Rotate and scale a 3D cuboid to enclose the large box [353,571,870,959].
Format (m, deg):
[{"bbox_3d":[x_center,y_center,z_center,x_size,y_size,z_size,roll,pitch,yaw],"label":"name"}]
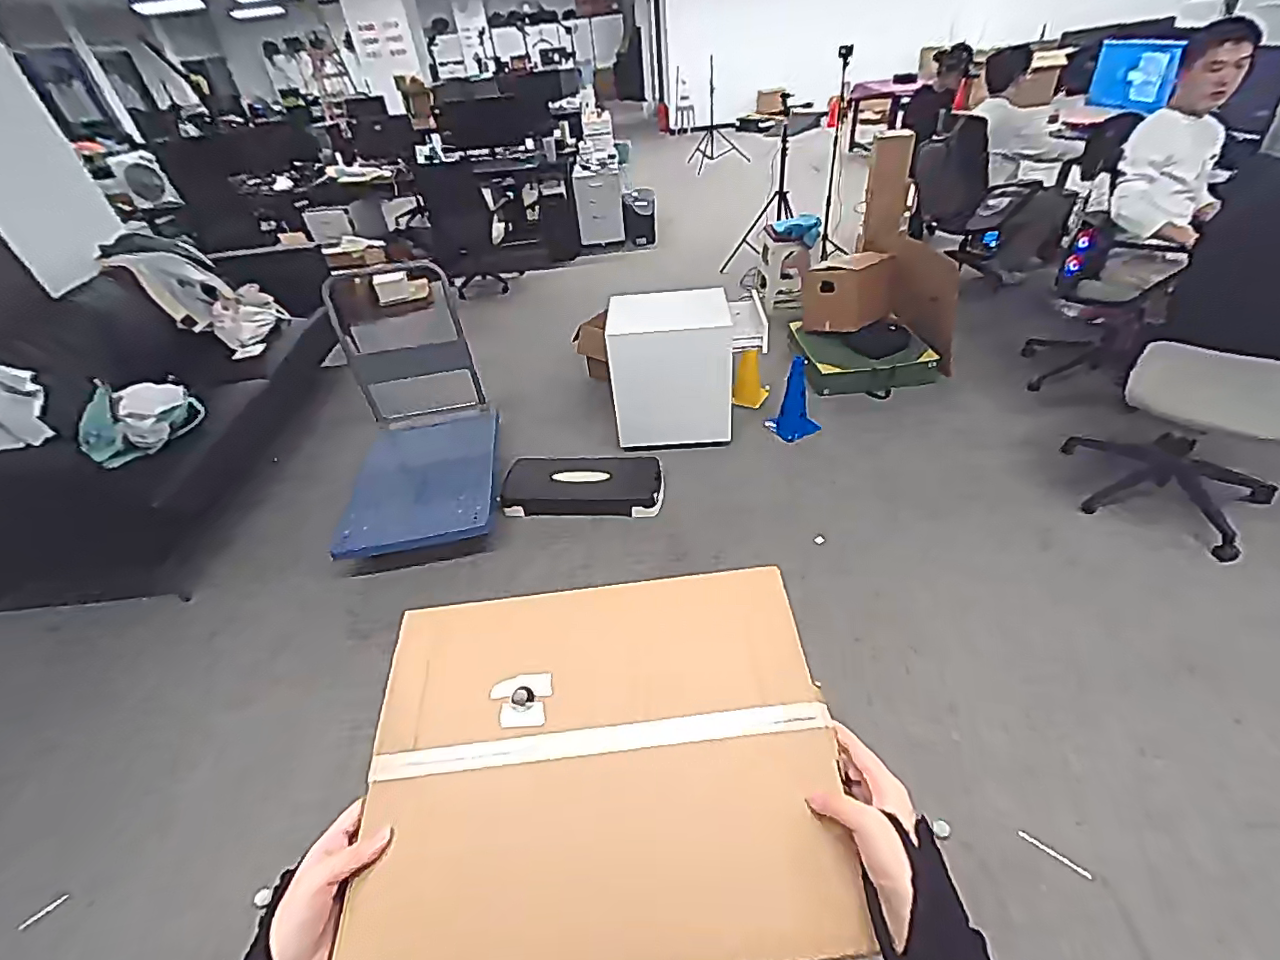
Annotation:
[{"bbox_3d":[-0.020,0.338,0.608,0.408,0.320,0.320,-9,49,2],"label":"large box"}]
